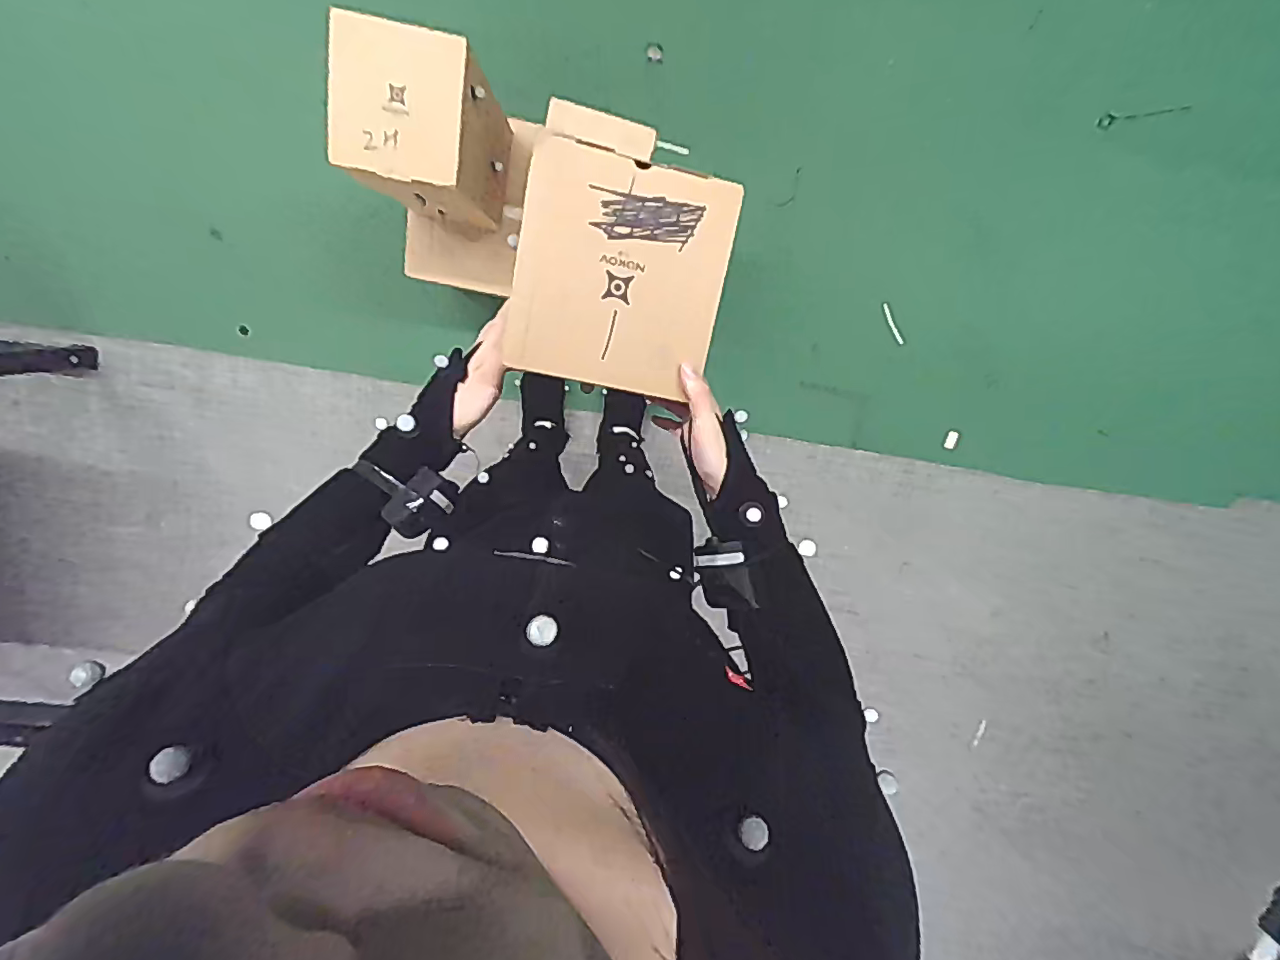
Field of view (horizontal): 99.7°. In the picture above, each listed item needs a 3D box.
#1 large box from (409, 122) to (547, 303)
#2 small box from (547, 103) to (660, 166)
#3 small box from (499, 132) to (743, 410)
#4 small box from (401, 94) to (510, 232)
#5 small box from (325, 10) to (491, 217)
[{"bbox_3d":[-0.239,-0.540,1.170,0.408,0.320,0.320,9,106,-6],"label":"large box"},{"bbox_3d":[-0.077,-0.503,0.934,0.179,0.176,0.168,15,104,-6],"label":"small box"},{"bbox_3d":[-0.025,-0.174,0.500,0.168,0.176,0.179,11,102,-9],"label":"small box"},{"bbox_3d":[-0.322,-0.540,0.914,0.168,0.176,0.179,10,105,-6],"label":"small box"},{"bbox_3d":[-0.312,-0.492,0.756,0.168,0.176,0.179,9,105,-6],"label":"small box"}]
